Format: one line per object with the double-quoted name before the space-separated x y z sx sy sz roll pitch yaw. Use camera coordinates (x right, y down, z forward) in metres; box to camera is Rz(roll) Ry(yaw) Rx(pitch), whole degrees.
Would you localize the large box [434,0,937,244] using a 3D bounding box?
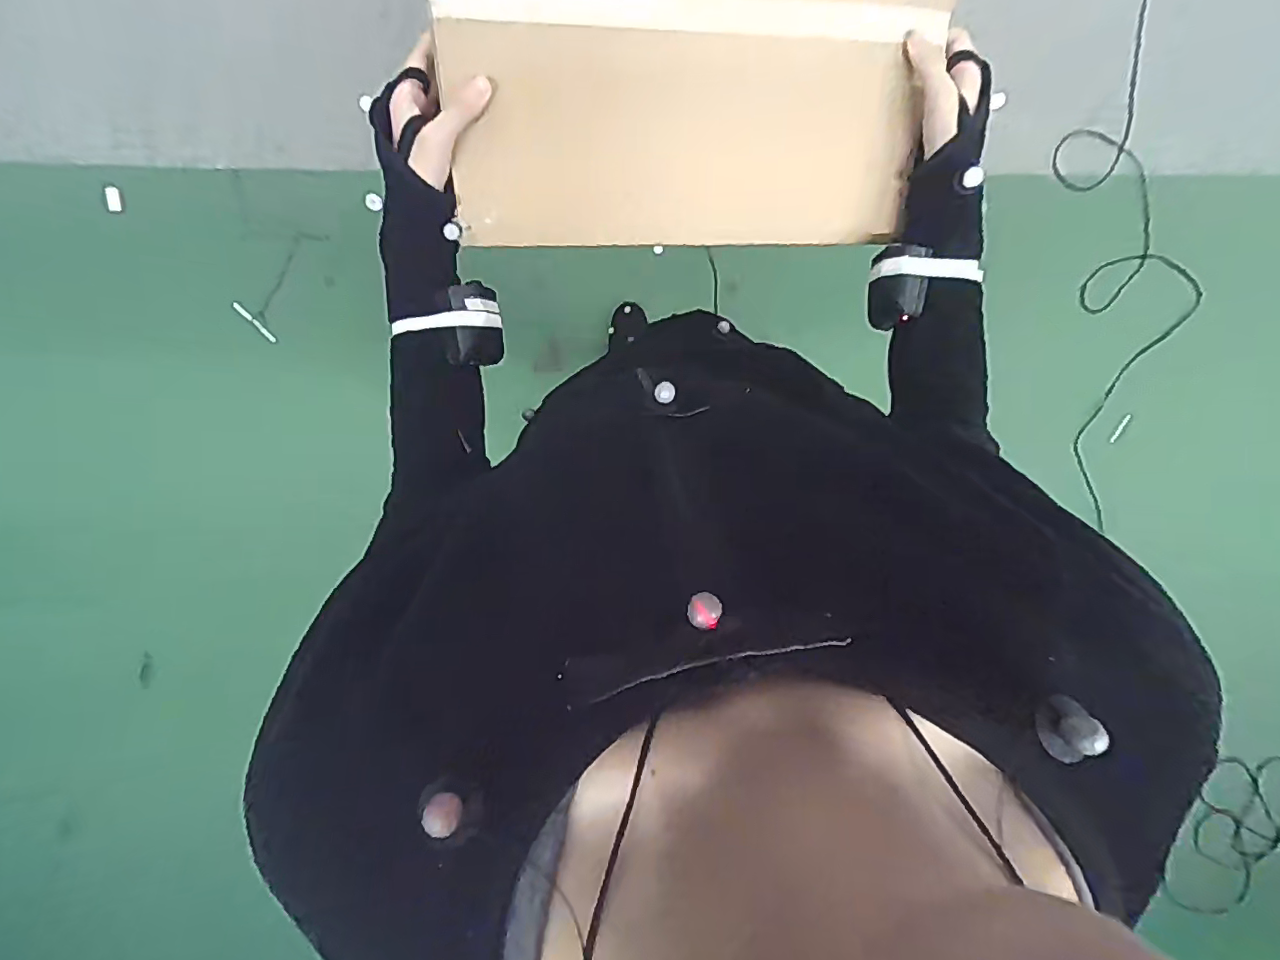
"large box" 0.023 -0.424 0.553 0.408 0.320 0.320 -4 116 -8
